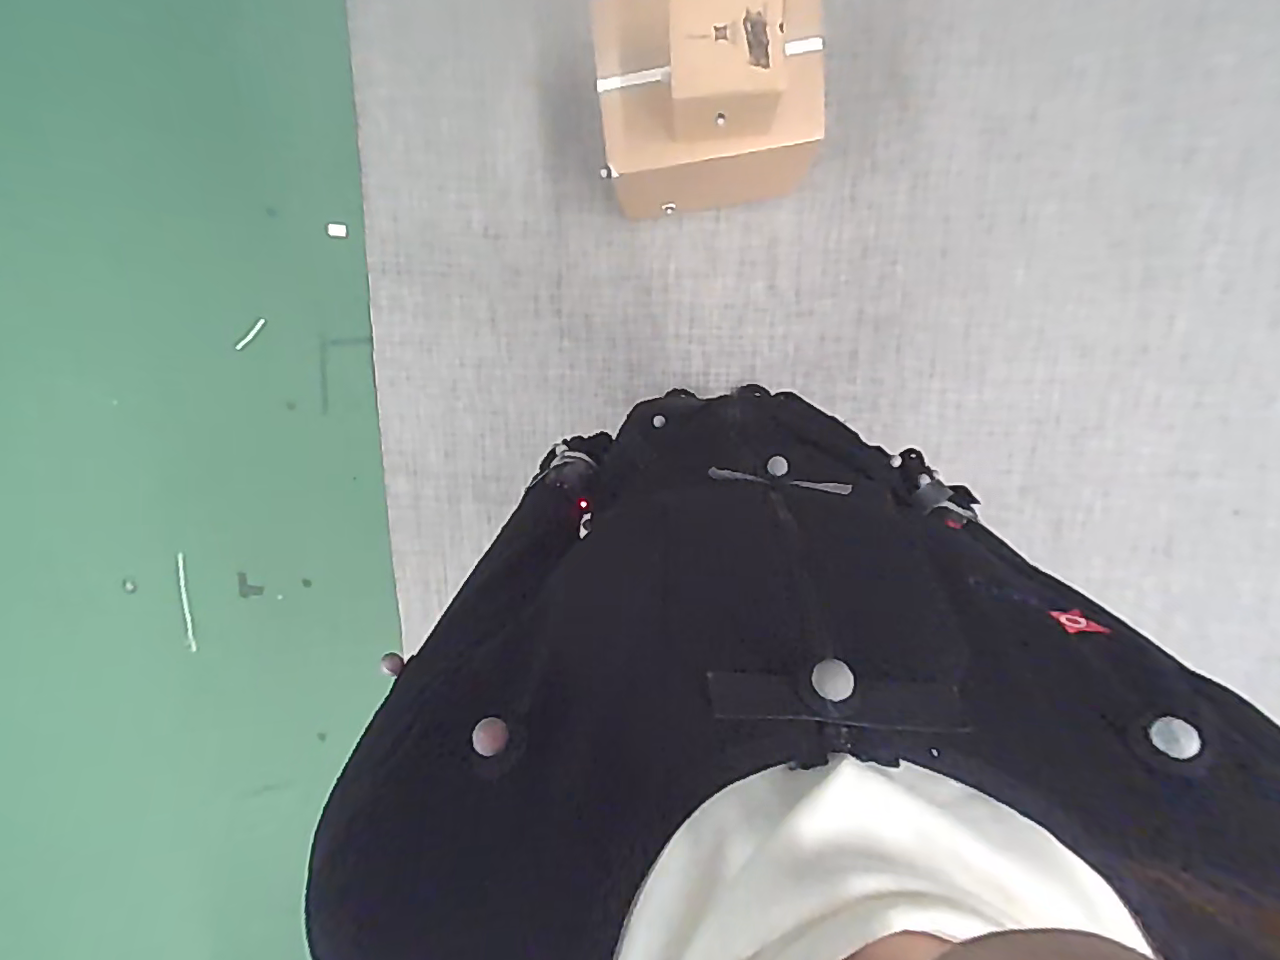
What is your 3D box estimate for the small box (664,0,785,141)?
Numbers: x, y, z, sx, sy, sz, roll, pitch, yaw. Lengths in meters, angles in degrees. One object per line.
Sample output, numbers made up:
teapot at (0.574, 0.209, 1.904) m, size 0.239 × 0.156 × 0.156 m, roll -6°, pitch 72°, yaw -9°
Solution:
small box at (0.132, -0.692, 0.895) m, size 0.179 × 0.176 × 0.168 m, roll -5°, pitch 102°, yaw 4°
